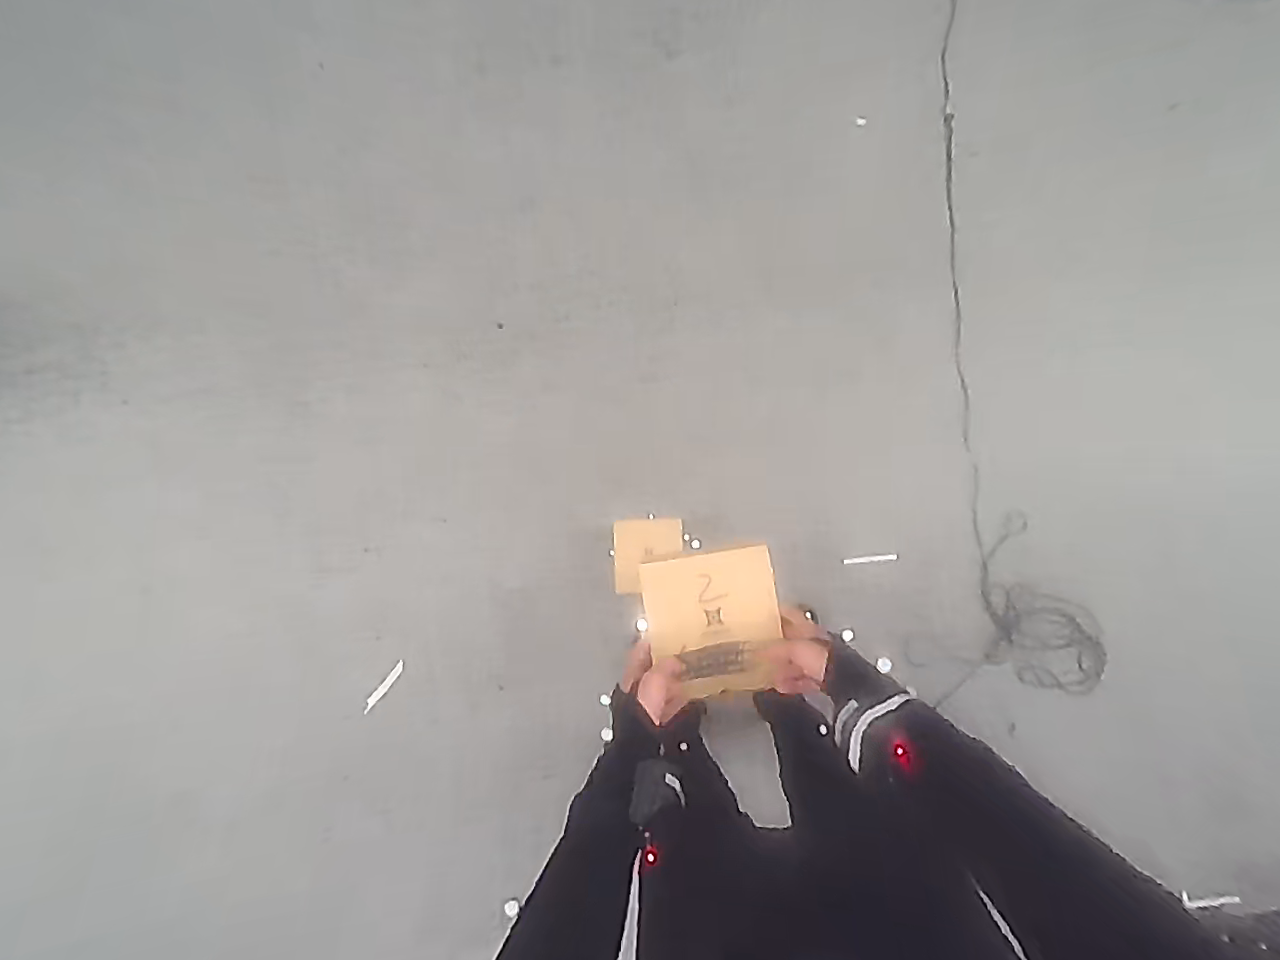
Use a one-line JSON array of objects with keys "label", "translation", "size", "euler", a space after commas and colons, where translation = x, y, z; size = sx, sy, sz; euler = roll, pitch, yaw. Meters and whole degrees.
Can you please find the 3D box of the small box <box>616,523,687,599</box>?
[{"label": "small box", "translation": [0.030, 0.201, 1.354], "size": [0.168, 0.176, 0.179], "euler": [-3, 83, 4]}]
